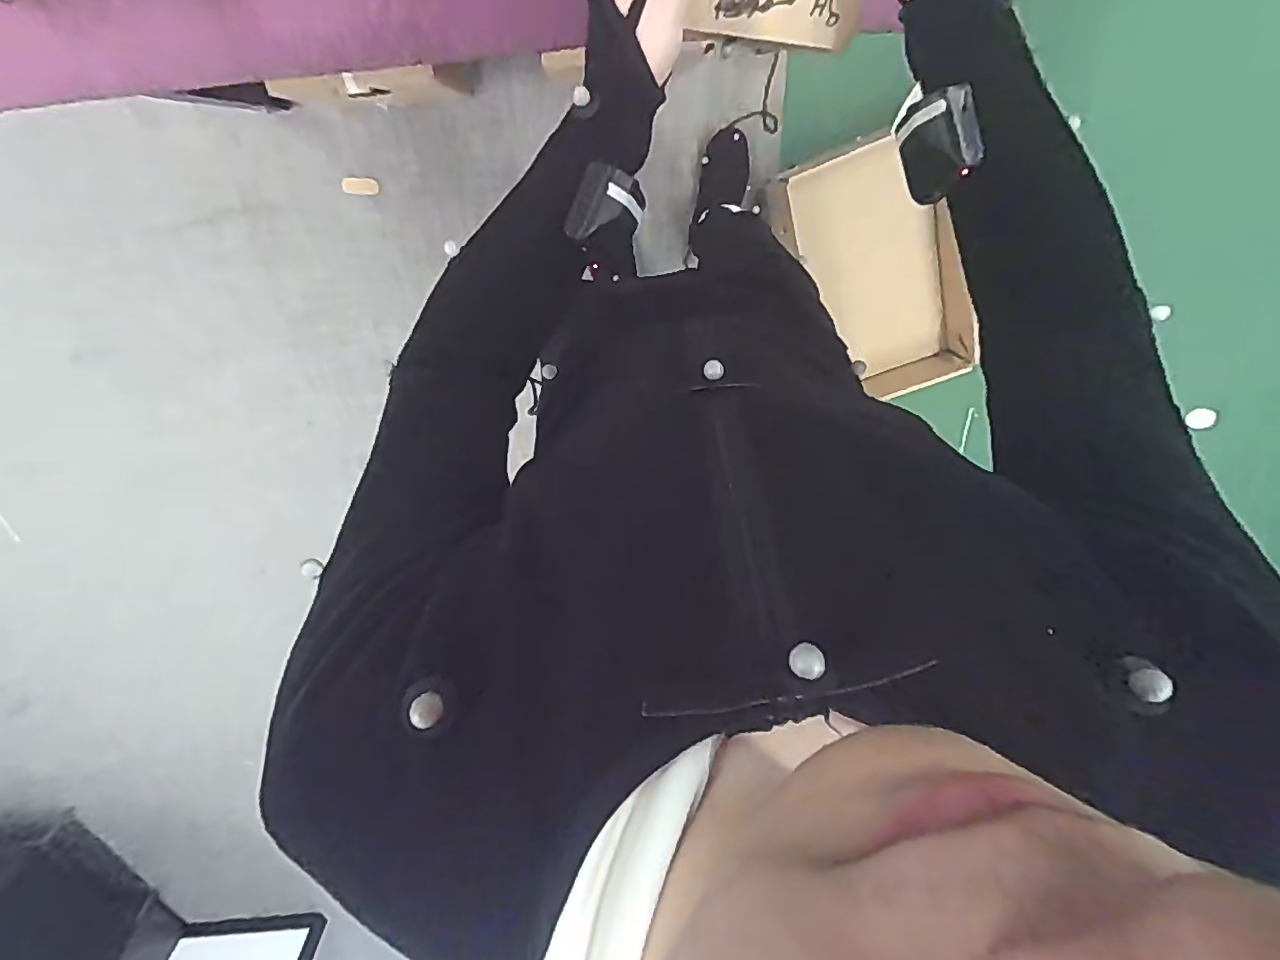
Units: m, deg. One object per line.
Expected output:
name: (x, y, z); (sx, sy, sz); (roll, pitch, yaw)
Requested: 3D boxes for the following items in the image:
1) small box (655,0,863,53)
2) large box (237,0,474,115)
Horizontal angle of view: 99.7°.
small box: (0.103, -0.477, 0.450); (0.168, 0.176, 0.179); (6, 128, -2)
large box: (-0.543, -0.957, 1.019); (0.320, 0.320, 0.408); (-5, 119, 0)
